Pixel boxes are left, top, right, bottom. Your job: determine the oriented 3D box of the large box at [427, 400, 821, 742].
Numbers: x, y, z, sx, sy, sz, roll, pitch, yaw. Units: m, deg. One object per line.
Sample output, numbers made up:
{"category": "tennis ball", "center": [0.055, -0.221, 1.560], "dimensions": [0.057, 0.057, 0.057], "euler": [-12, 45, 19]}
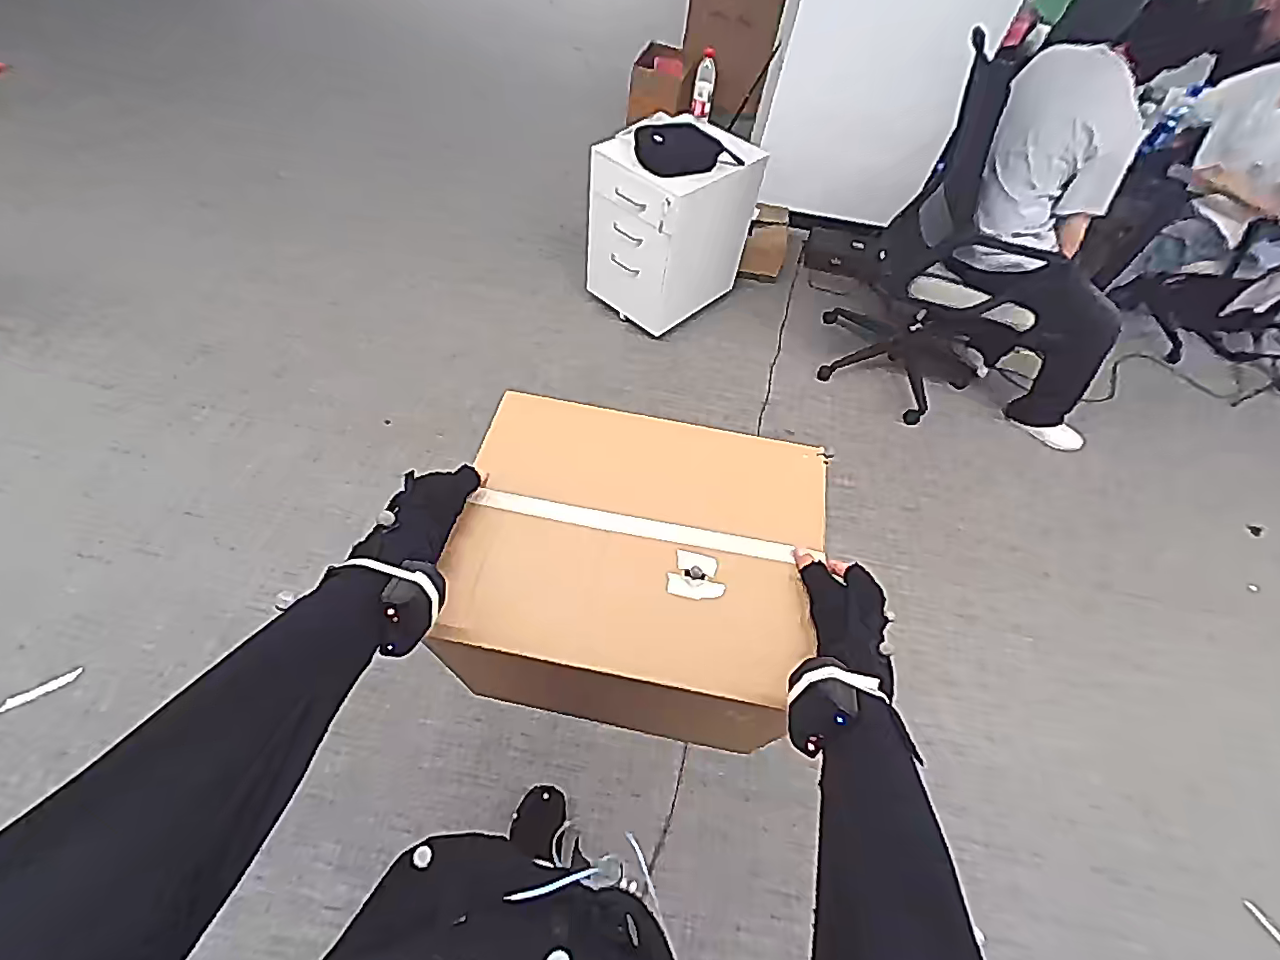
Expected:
{"category": "large box", "center": [-0.005, 0.135, 0.734], "dimensions": [0.408, 0.320, 0.320], "euler": [11, 59, 3]}
